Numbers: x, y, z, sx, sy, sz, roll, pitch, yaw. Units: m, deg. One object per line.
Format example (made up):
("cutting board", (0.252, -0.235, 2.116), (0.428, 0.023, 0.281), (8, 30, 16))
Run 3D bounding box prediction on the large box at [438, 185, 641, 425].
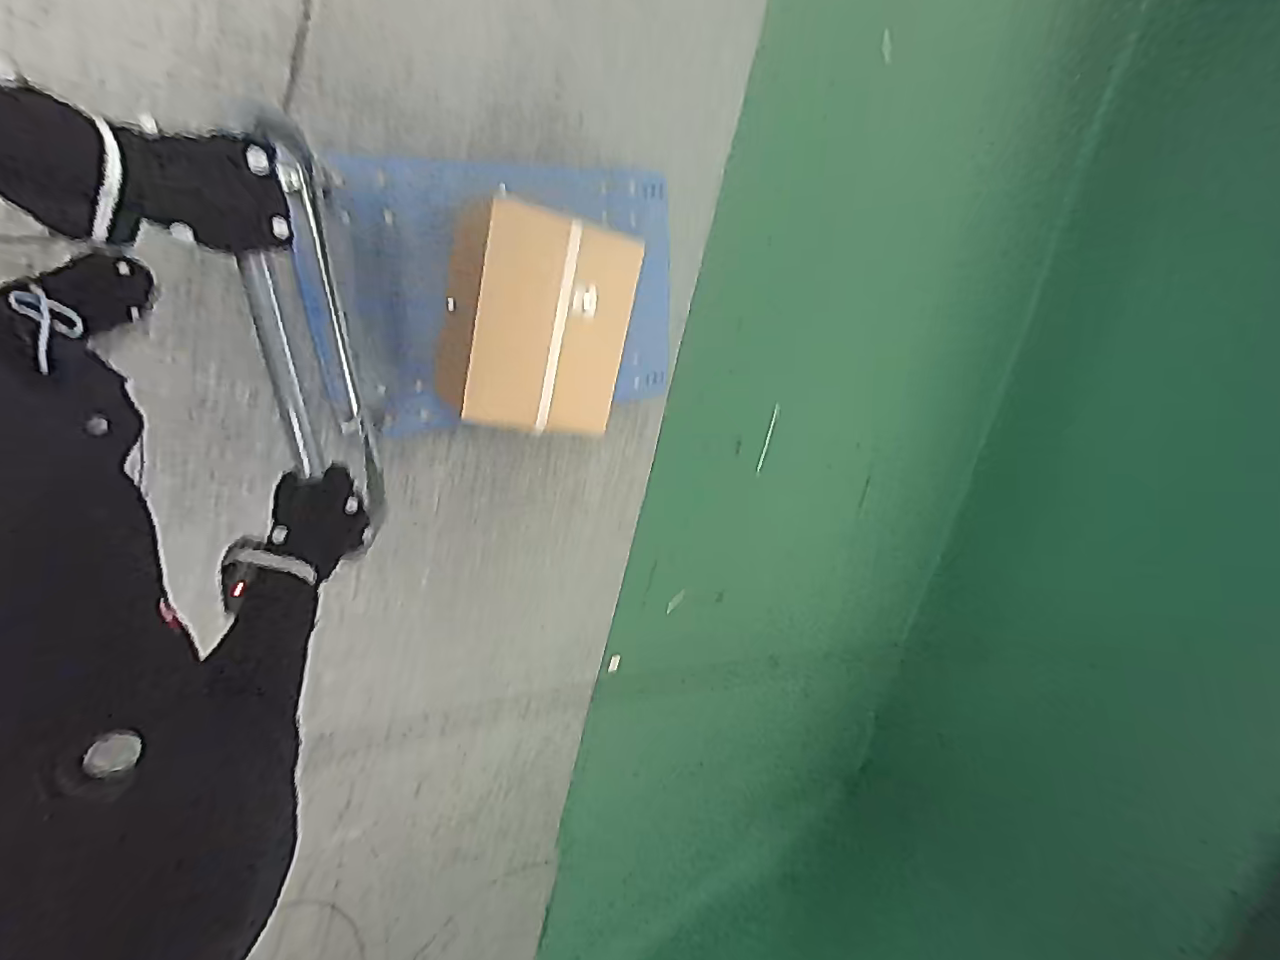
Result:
("large box", (-0.238, -0.359, 1.174), (0.320, 0.320, 0.408), (3, 108, -33))
